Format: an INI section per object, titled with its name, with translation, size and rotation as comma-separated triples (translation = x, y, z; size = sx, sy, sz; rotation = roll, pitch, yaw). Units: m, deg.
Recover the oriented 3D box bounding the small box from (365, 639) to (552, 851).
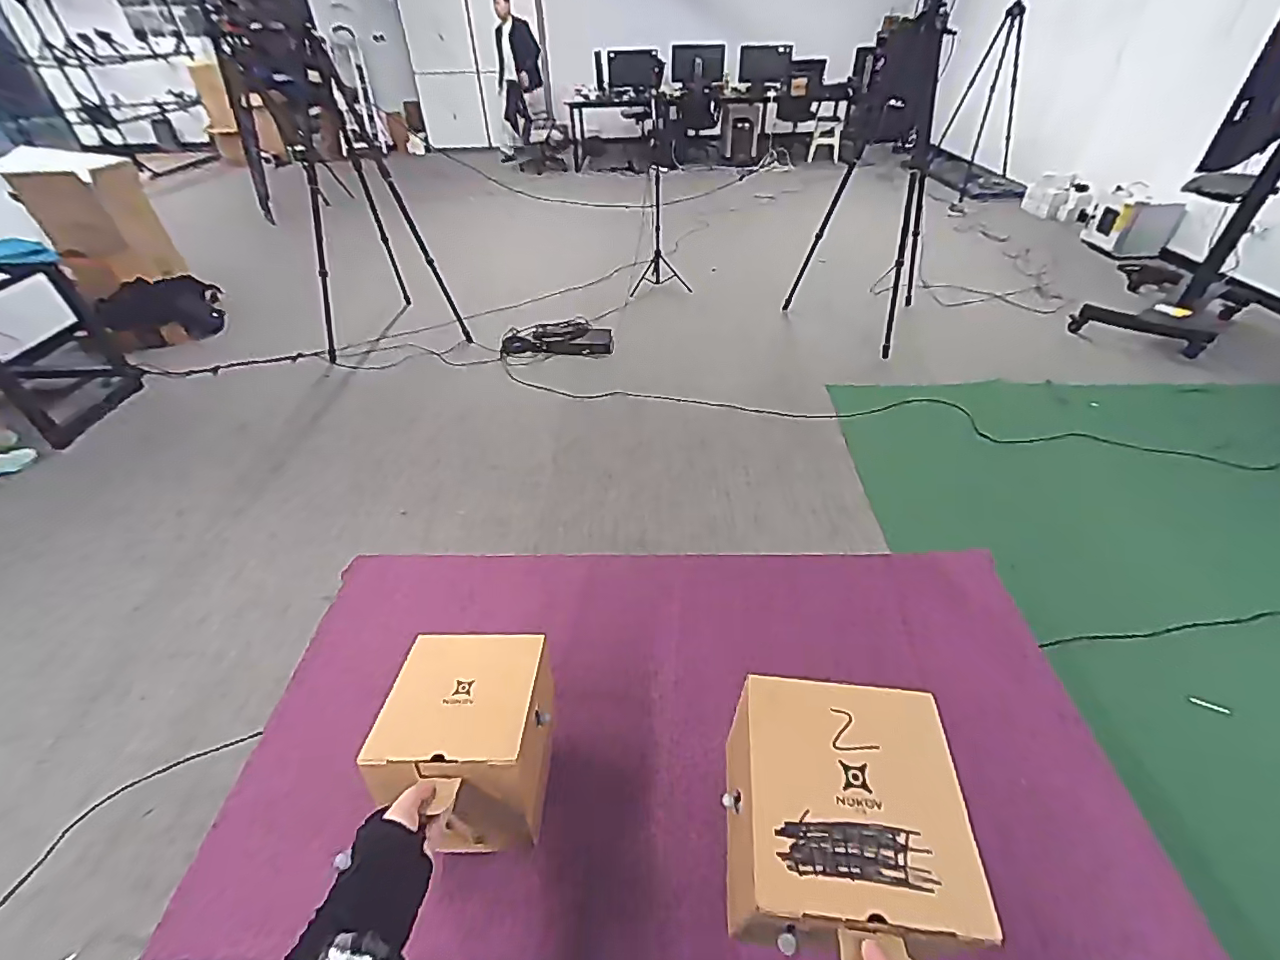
[small box]
translation = -0.206, 0.322, 0.672
size = 0.168, 0.176, 0.179
rotation = 0, 29, 1
